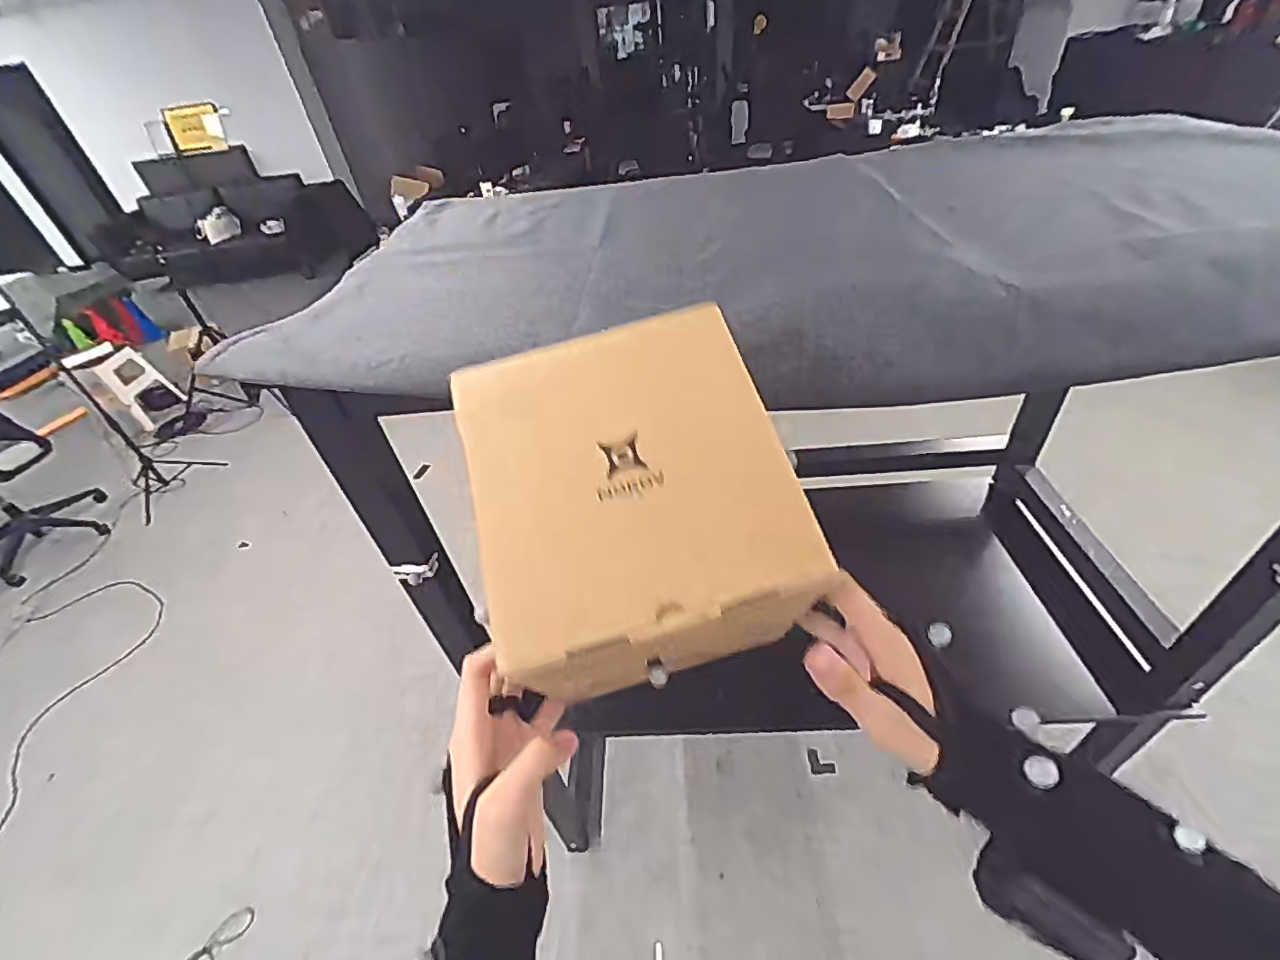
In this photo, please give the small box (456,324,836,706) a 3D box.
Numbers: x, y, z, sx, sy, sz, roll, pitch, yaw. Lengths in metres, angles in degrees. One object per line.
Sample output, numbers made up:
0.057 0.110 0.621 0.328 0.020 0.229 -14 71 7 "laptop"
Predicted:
-0.004 0.034 0.356 0.168 0.176 0.179 -16 65 -4 "small box"
